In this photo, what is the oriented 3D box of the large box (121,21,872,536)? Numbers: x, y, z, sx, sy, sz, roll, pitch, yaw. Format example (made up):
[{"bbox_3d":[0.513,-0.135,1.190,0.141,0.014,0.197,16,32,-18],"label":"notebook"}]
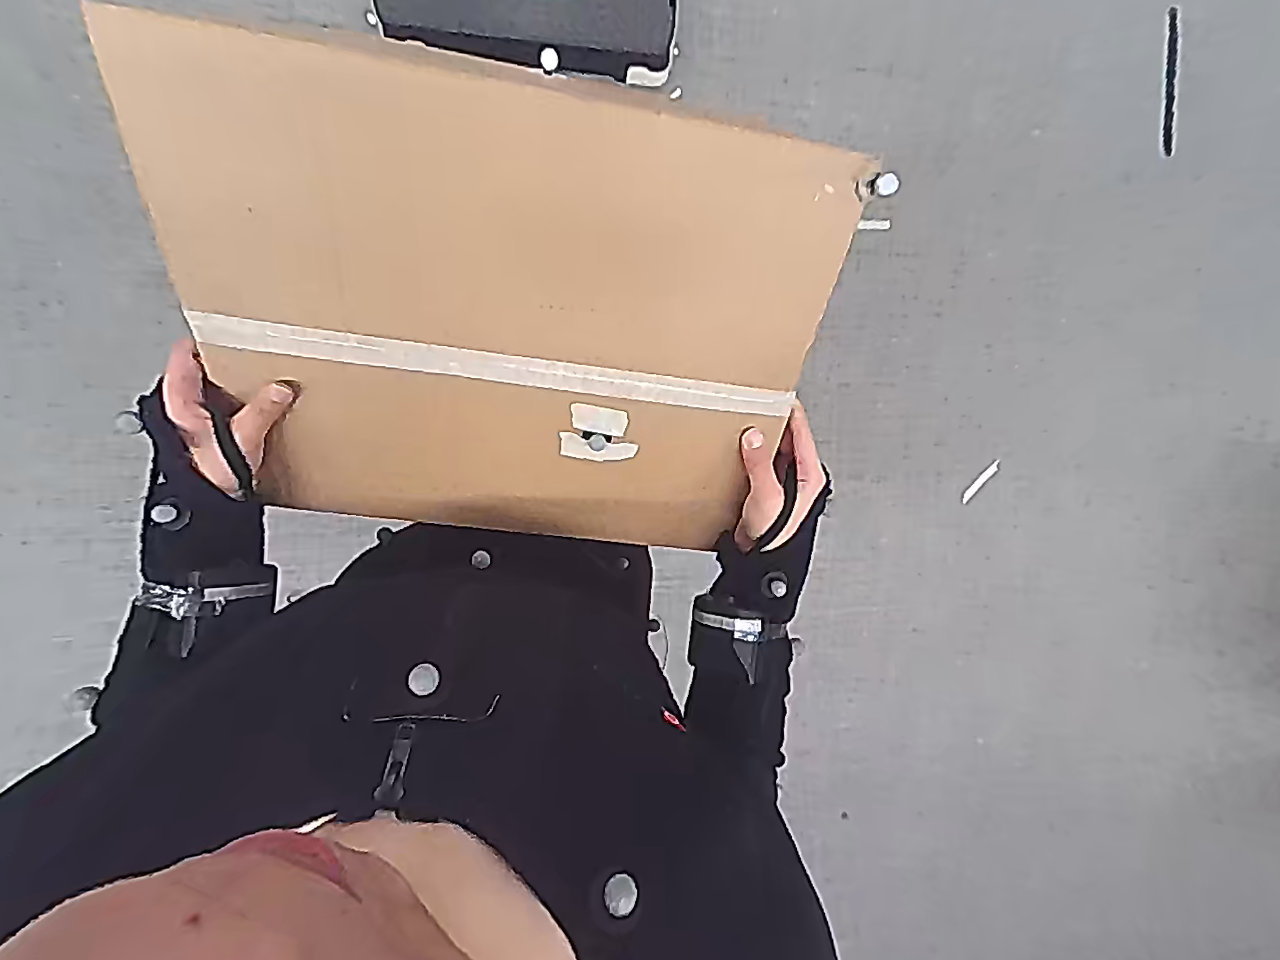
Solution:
[{"bbox_3d":[-0.090,-0.176,0.493,0.408,0.320,0.320,6,128,-7],"label":"large box"}]
